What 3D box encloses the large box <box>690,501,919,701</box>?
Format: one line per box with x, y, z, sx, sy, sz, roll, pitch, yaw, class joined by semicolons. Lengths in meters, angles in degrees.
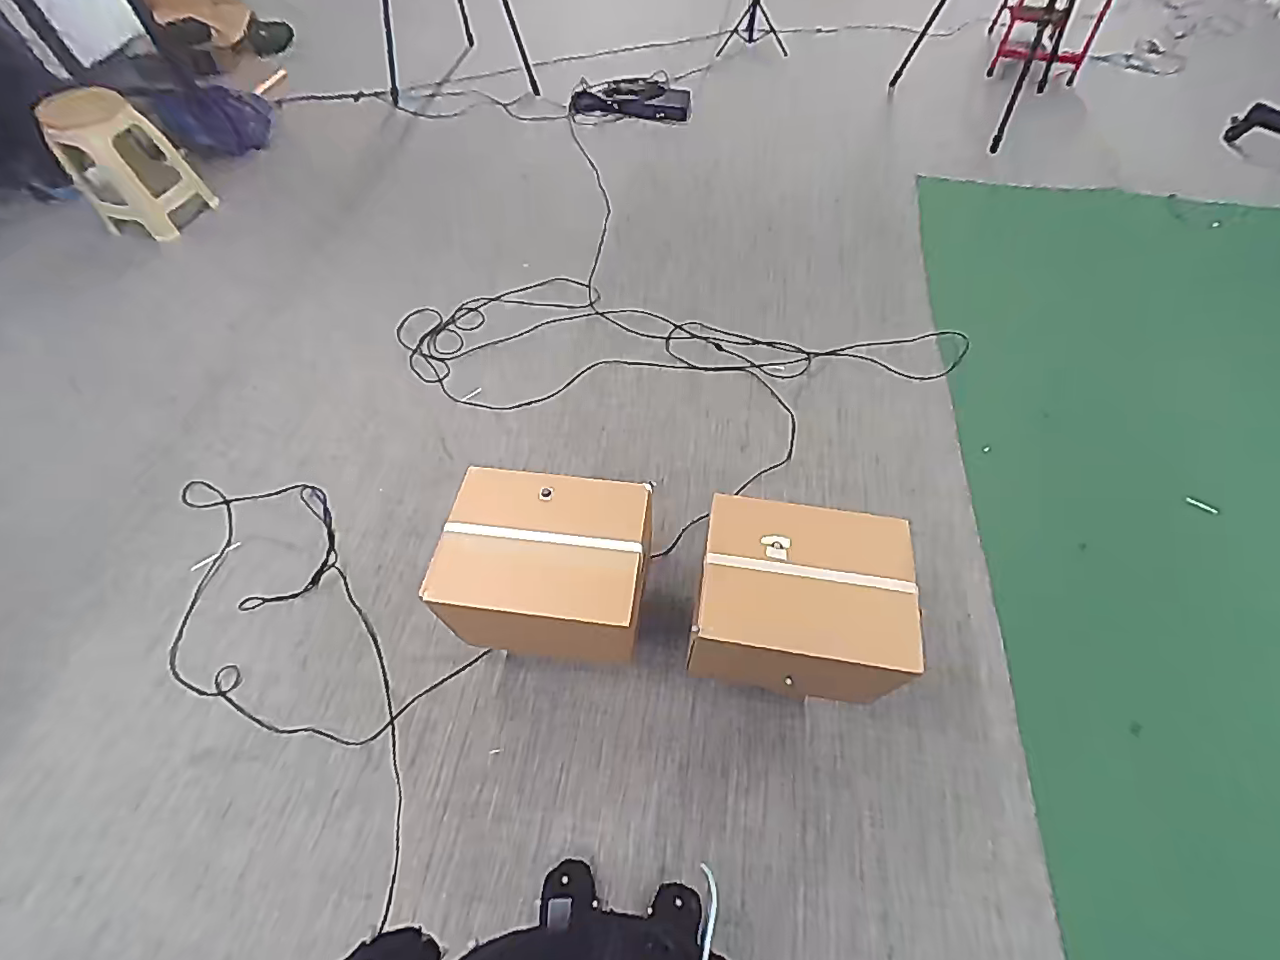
0.334;0.275;1.189;0.408;0.320;0.320;8;58;6;large box
